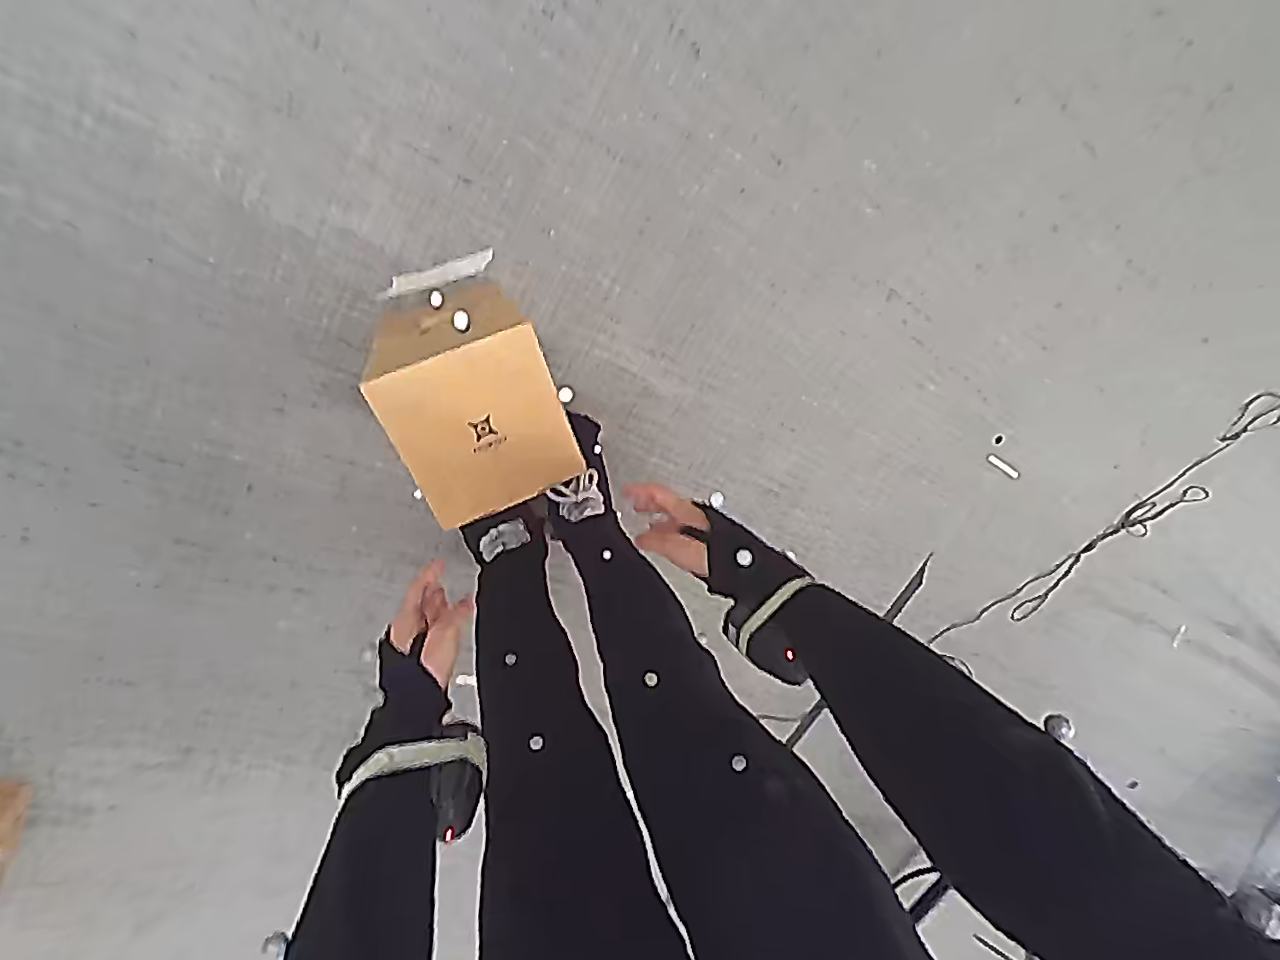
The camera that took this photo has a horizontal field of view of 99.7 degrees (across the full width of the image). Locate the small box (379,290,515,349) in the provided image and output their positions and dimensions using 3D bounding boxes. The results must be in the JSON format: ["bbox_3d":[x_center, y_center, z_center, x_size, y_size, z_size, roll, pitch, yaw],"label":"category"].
[{"bbox_3d":[-0.236,-0.151,0.747,0.168,0.176,0.179,-23,121,-9],"label":"small box"}]

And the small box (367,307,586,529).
[{"bbox_3d":[-0.181,-0.082,0.609,0.168,0.176,0.179,-24,123,-9],"label":"small box"}]
